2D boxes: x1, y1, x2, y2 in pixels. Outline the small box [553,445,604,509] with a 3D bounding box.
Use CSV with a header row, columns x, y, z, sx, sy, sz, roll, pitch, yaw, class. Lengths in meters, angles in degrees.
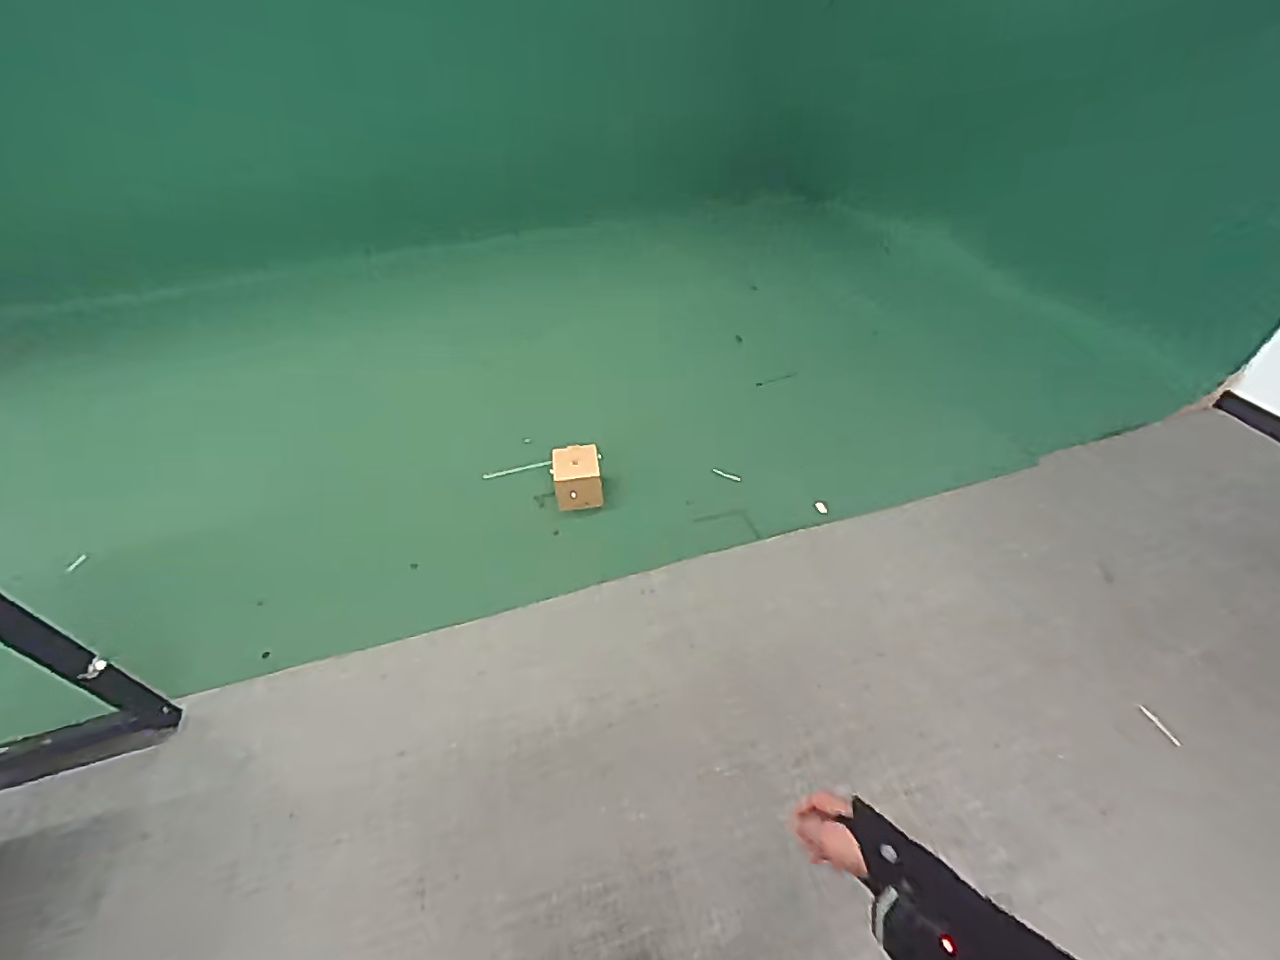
x,y,z,sx,sy,sz,roll,pitch,yaw,class
-0.229,-0.005,2.029,0.168,0.176,0.179,-8,44,-5,small box
